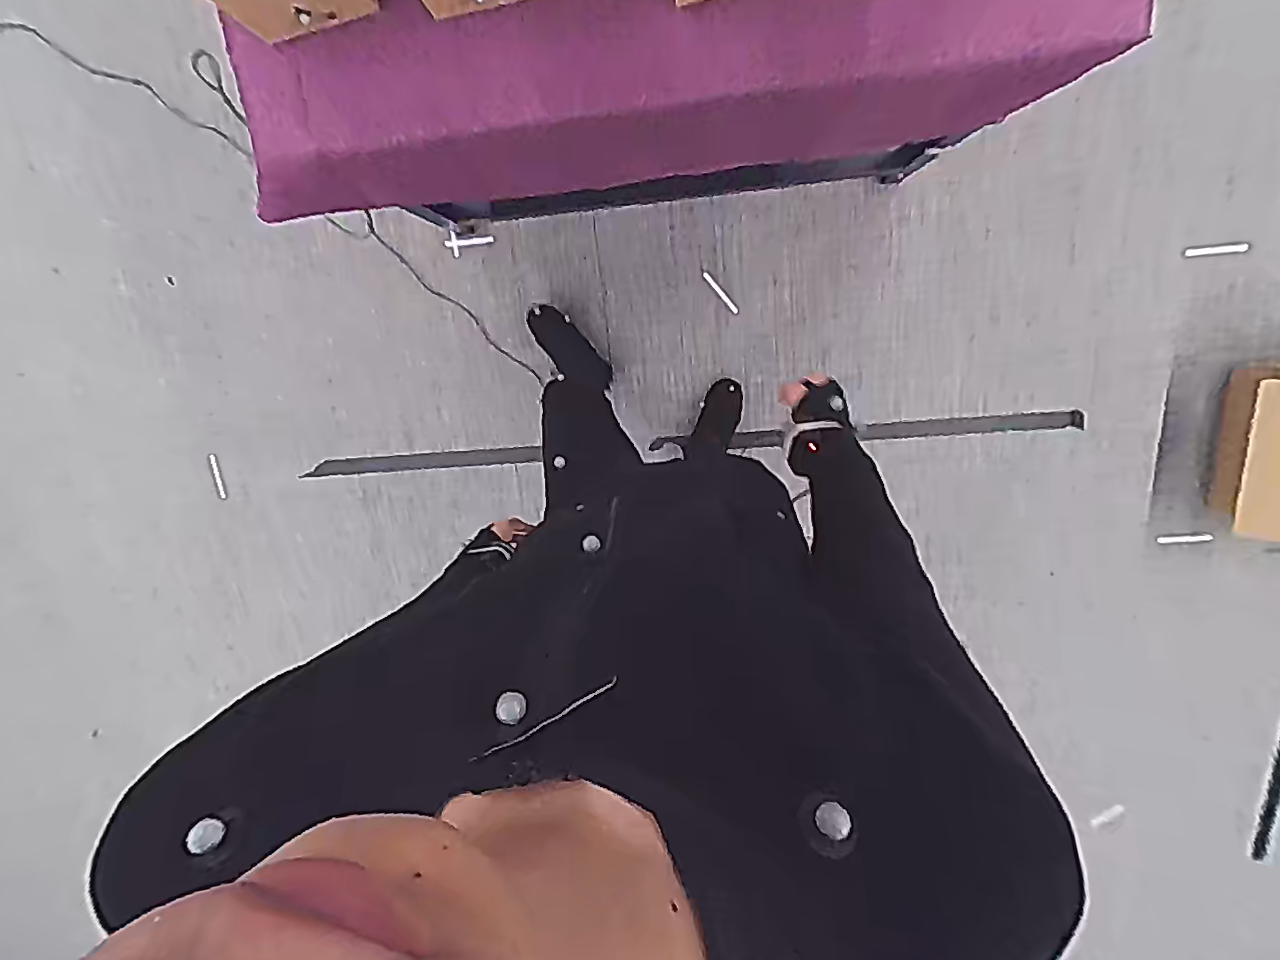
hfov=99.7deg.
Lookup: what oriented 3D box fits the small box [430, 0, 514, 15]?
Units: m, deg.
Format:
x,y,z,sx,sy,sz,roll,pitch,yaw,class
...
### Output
x,y,z,sx,sy,sz,roll,pitch,yaw,class
-0.209,-0.681,0.605,0.168,0.176,0.179,-9,105,6,small box
